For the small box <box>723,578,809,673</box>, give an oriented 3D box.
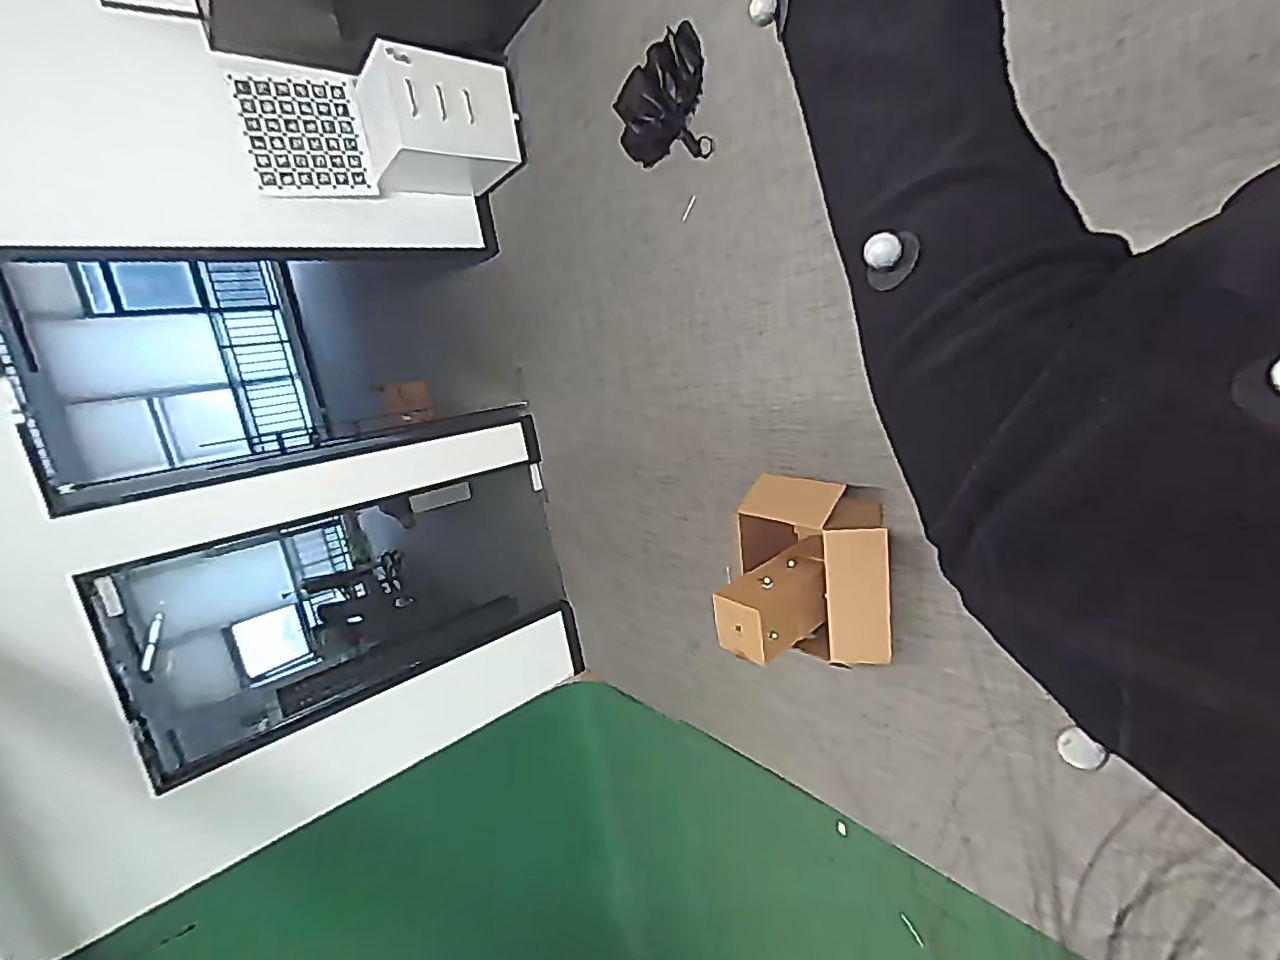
[{"bbox_3d":[0.360,0.402,1.526,0.168,0.176,0.179,8,113,50],"label":"small box"}]
